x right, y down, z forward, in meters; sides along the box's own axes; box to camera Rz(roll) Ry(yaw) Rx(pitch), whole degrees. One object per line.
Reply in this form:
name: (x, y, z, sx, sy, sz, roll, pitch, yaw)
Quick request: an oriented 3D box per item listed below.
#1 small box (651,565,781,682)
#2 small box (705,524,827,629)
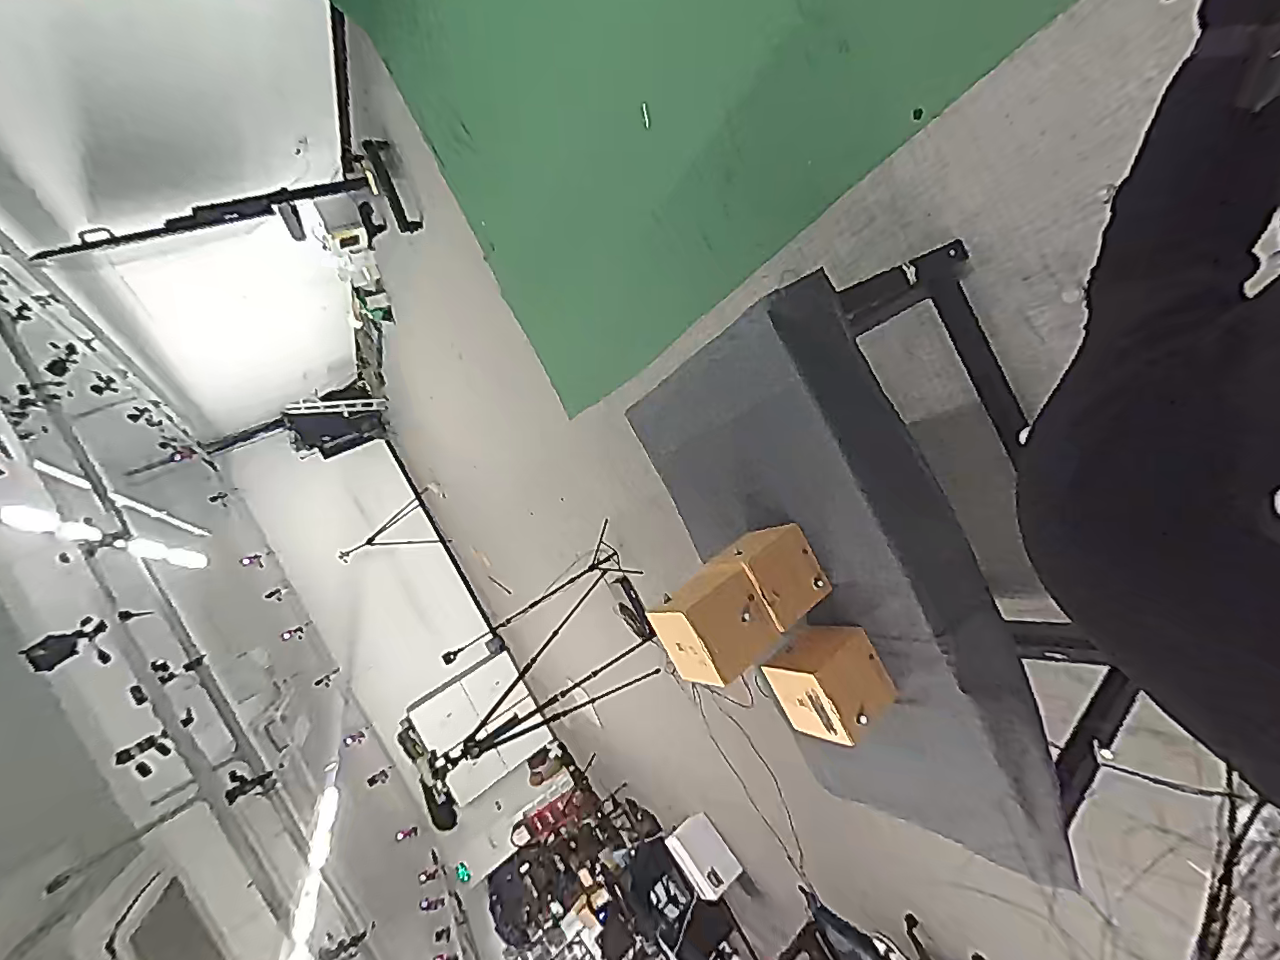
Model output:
small box: (0.158, 0.294, 1.129, 0.168, 0.176, 0.179, 60, 151, 0)
small box: (0.284, 0.210, 1.193, 0.168, 0.176, 0.179, 62, 153, -1)
